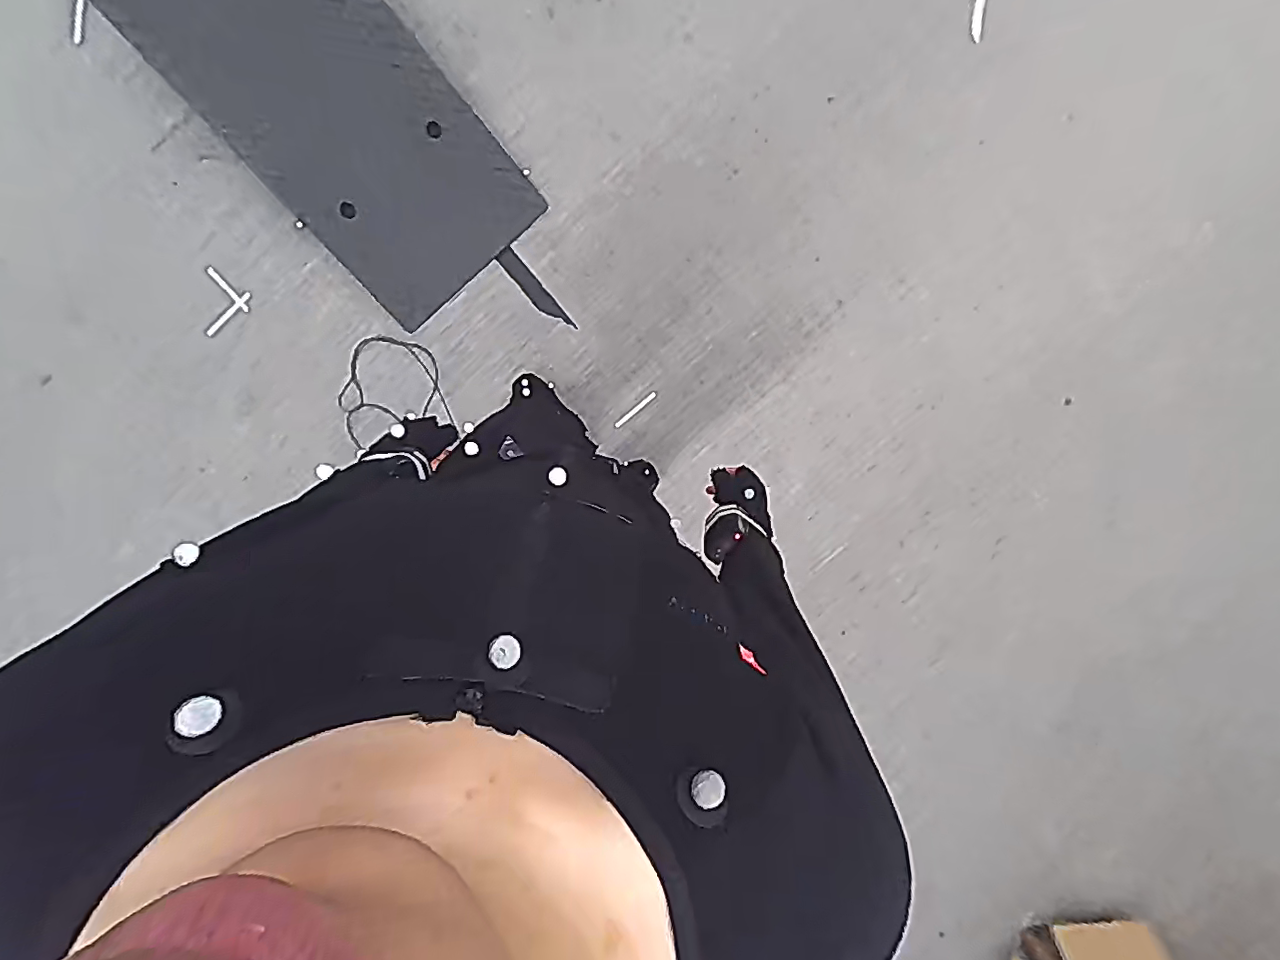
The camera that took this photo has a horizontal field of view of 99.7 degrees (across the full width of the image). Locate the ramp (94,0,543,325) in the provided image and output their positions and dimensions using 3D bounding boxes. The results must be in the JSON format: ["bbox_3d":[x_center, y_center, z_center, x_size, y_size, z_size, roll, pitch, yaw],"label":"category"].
[{"bbox_3d":[-0.733,-0.909,1.247,0.509,0.206,0.991,-43,97,3],"label":"ramp"}]
